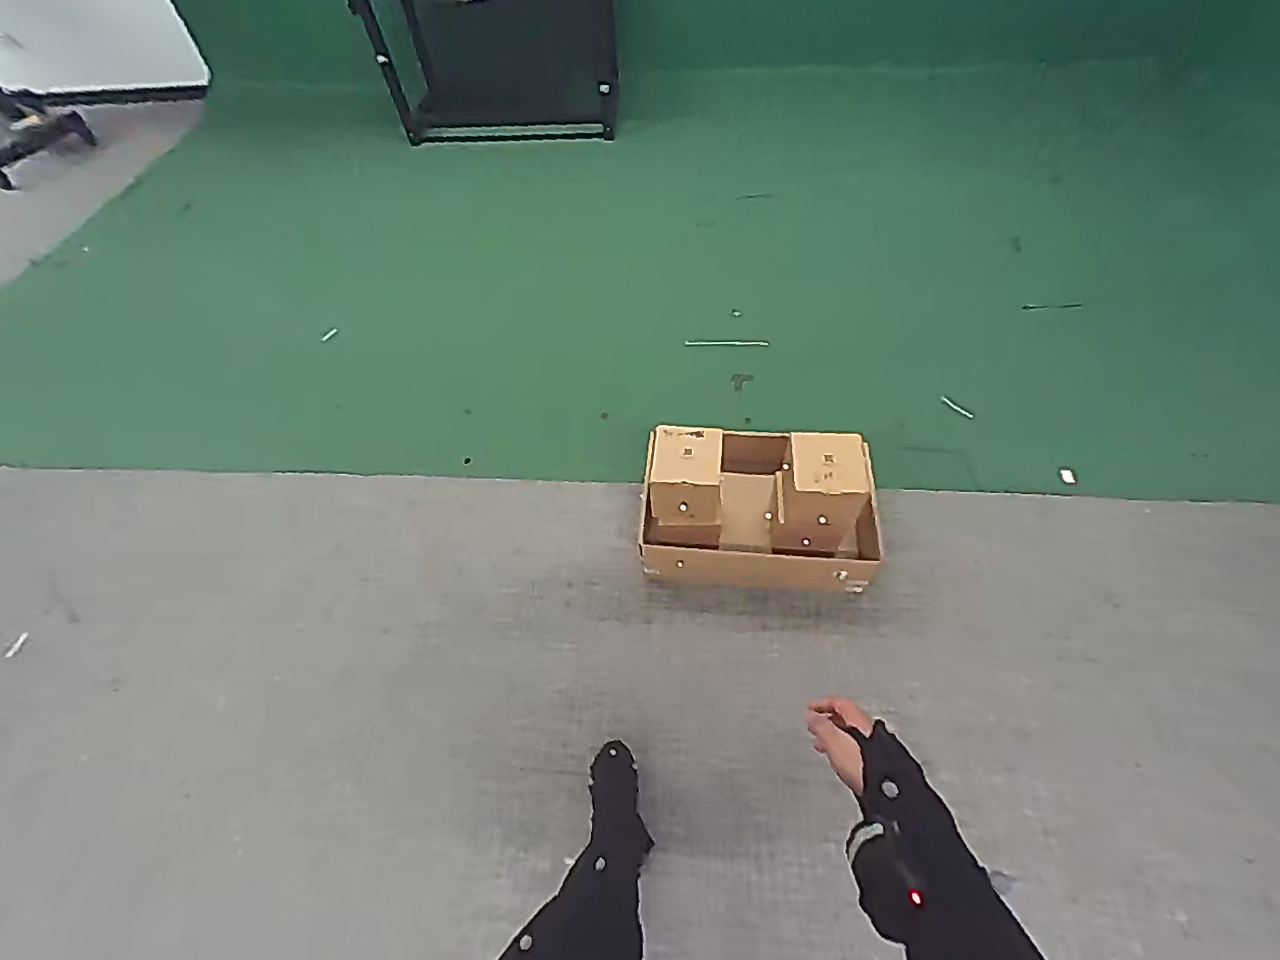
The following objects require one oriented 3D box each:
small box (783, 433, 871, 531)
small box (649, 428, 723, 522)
[{"bbox_3d":[0.447,0.007,1.321,0.168,0.176,0.179,2,57,7],"label":"small box"},{"bbox_3d":[0.118,-0.008,1.356,0.168,0.176,0.179,4,57,7],"label":"small box"}]
